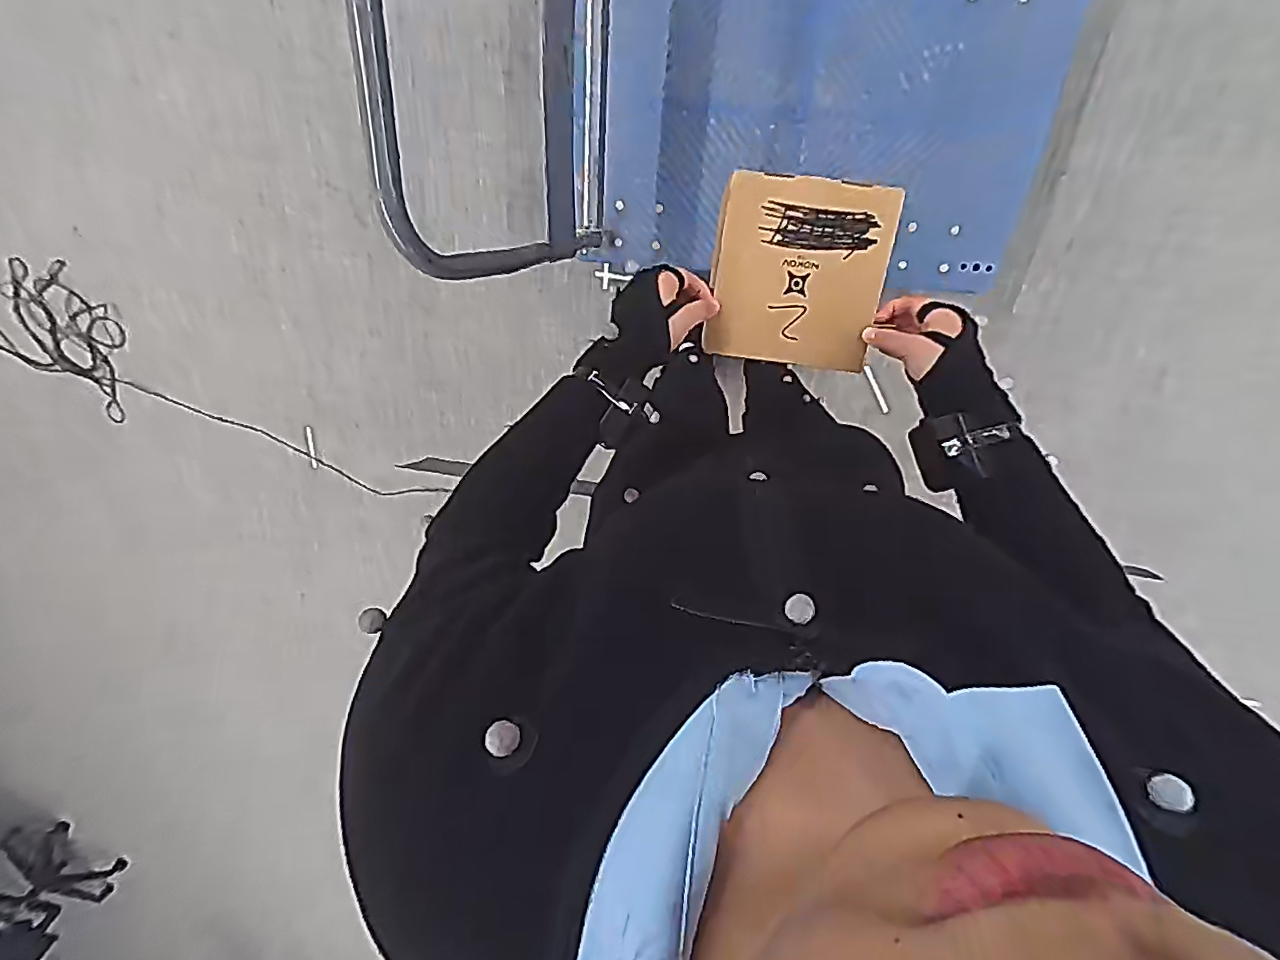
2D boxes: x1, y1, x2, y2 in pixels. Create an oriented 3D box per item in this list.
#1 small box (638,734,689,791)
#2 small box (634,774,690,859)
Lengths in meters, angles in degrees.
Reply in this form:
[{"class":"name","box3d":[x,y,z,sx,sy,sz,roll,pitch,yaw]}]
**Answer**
[{"class":"small box","box3d":[0.091,1.065,1.984,0.168,0.176,0.179,-3,115,8]},{"class":"small box","box3d":[0.079,1.143,1.841,0.168,0.176,0.179,8,116,3]}]
